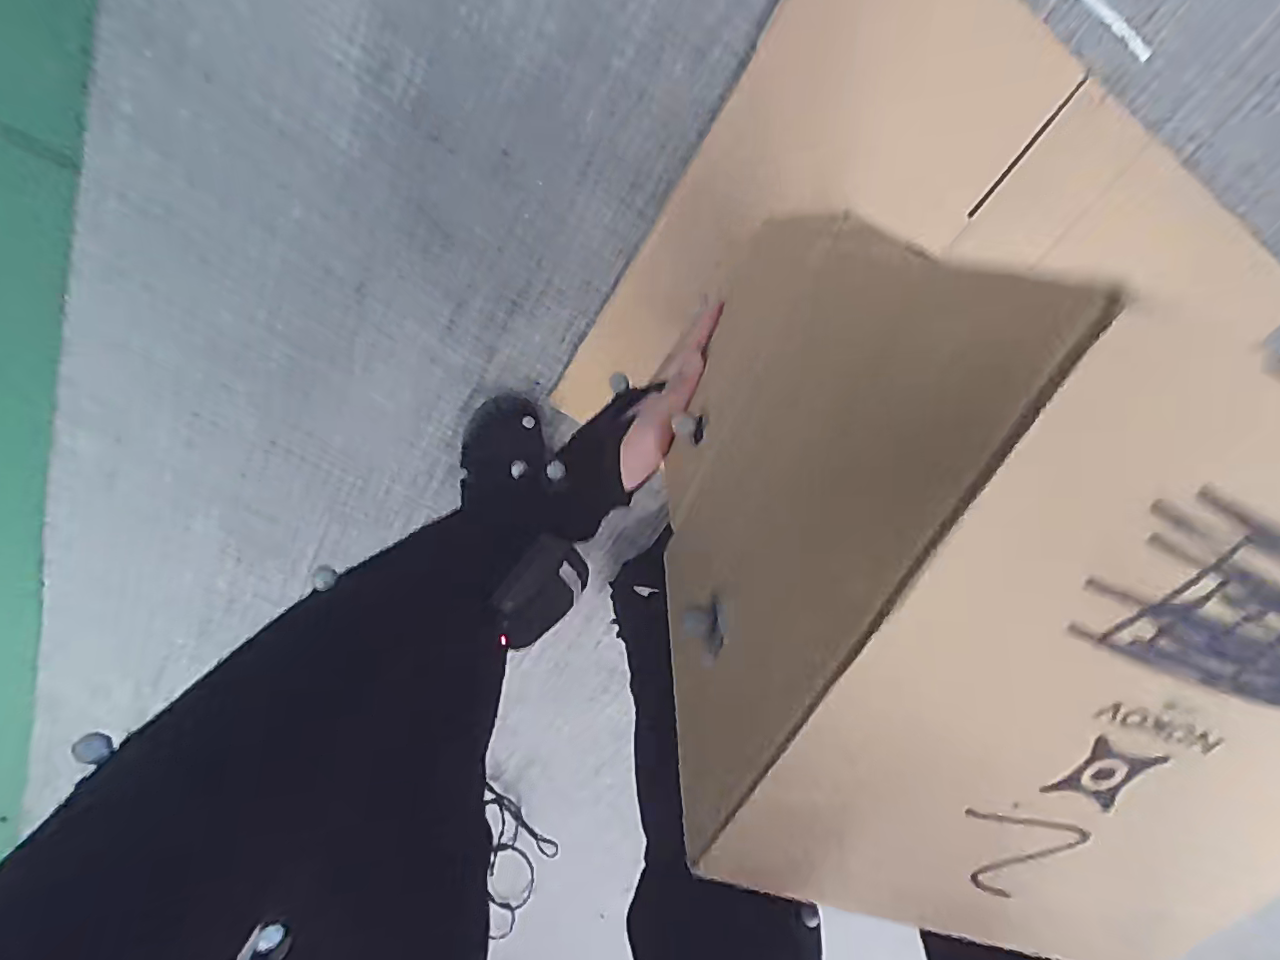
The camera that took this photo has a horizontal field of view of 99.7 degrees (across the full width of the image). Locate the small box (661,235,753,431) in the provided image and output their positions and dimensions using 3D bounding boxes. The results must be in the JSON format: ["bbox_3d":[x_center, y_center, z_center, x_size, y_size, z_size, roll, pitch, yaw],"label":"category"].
[{"bbox_3d":[0.124,-0.110,0.499,0.168,0.176,0.179,22,113,-9],"label":"small box"}]
